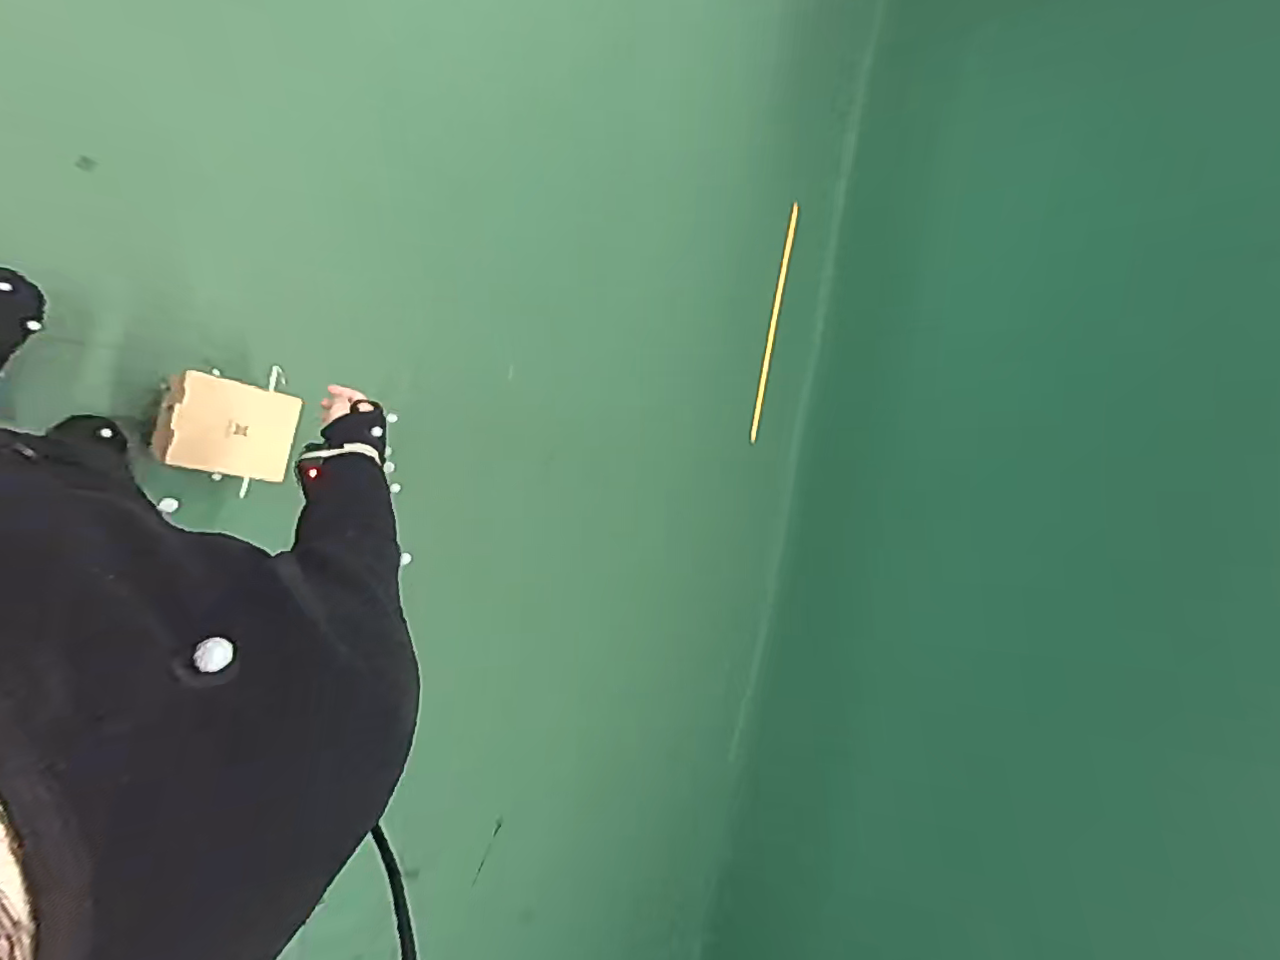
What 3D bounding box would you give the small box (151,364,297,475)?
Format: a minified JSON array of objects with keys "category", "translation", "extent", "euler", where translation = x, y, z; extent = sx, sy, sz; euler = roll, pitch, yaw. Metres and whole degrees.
[{"category":"small box","translation":[-0.792,-0.116,1.029],"extent":[0.179,0.176,0.168],"euler":[16,85,-46]}]
